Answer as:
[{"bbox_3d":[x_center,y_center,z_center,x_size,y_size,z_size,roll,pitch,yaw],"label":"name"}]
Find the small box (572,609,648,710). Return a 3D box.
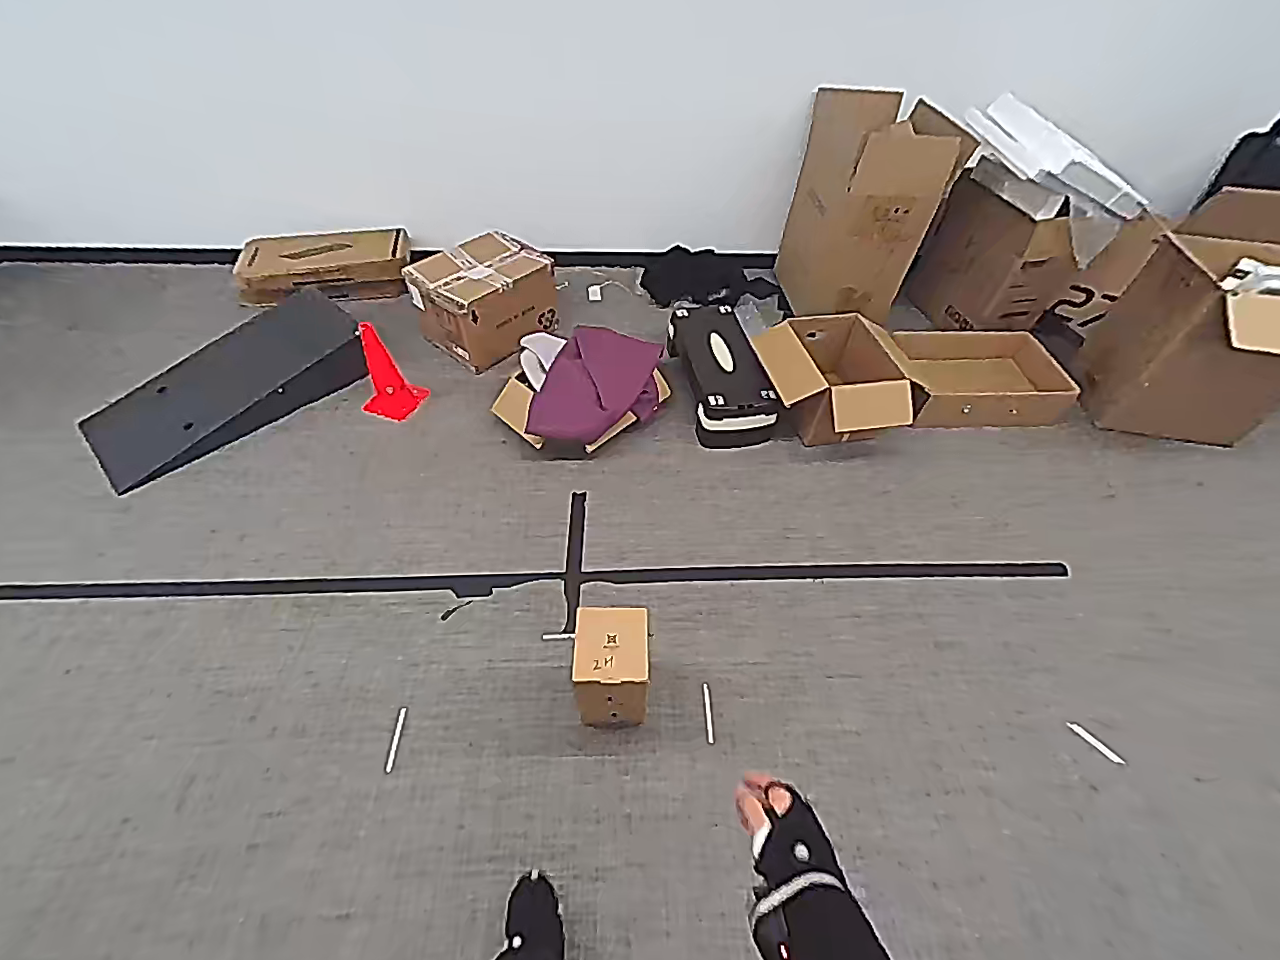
[{"bbox_3d":[-0.067,0.422,1.270,0.168,0.176,0.179,0,50,-1],"label":"small box"}]

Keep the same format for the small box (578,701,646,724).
[{"bbox_3d":[-0.068,0.524,1.401,0.168,0.176,0.179,-1,50,-3],"label":"small box"}]
